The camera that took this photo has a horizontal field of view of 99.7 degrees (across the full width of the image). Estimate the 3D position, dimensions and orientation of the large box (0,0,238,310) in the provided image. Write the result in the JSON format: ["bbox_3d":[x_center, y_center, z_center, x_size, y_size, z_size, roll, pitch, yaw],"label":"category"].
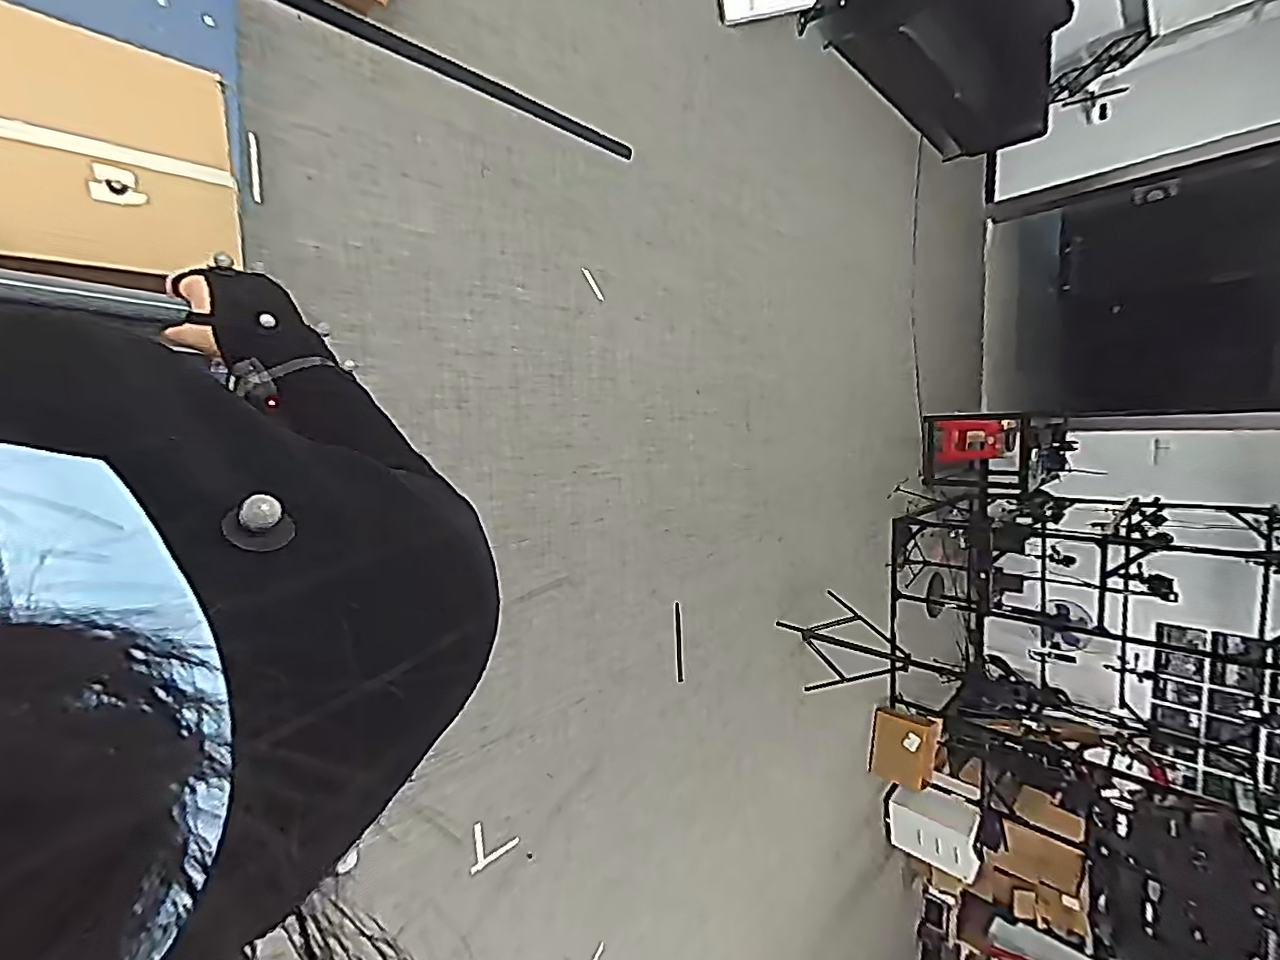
[{"bbox_3d":[-0.891,-0.456,0.803,0.408,0.320,0.320,-8,99,-46],"label":"large box"}]
